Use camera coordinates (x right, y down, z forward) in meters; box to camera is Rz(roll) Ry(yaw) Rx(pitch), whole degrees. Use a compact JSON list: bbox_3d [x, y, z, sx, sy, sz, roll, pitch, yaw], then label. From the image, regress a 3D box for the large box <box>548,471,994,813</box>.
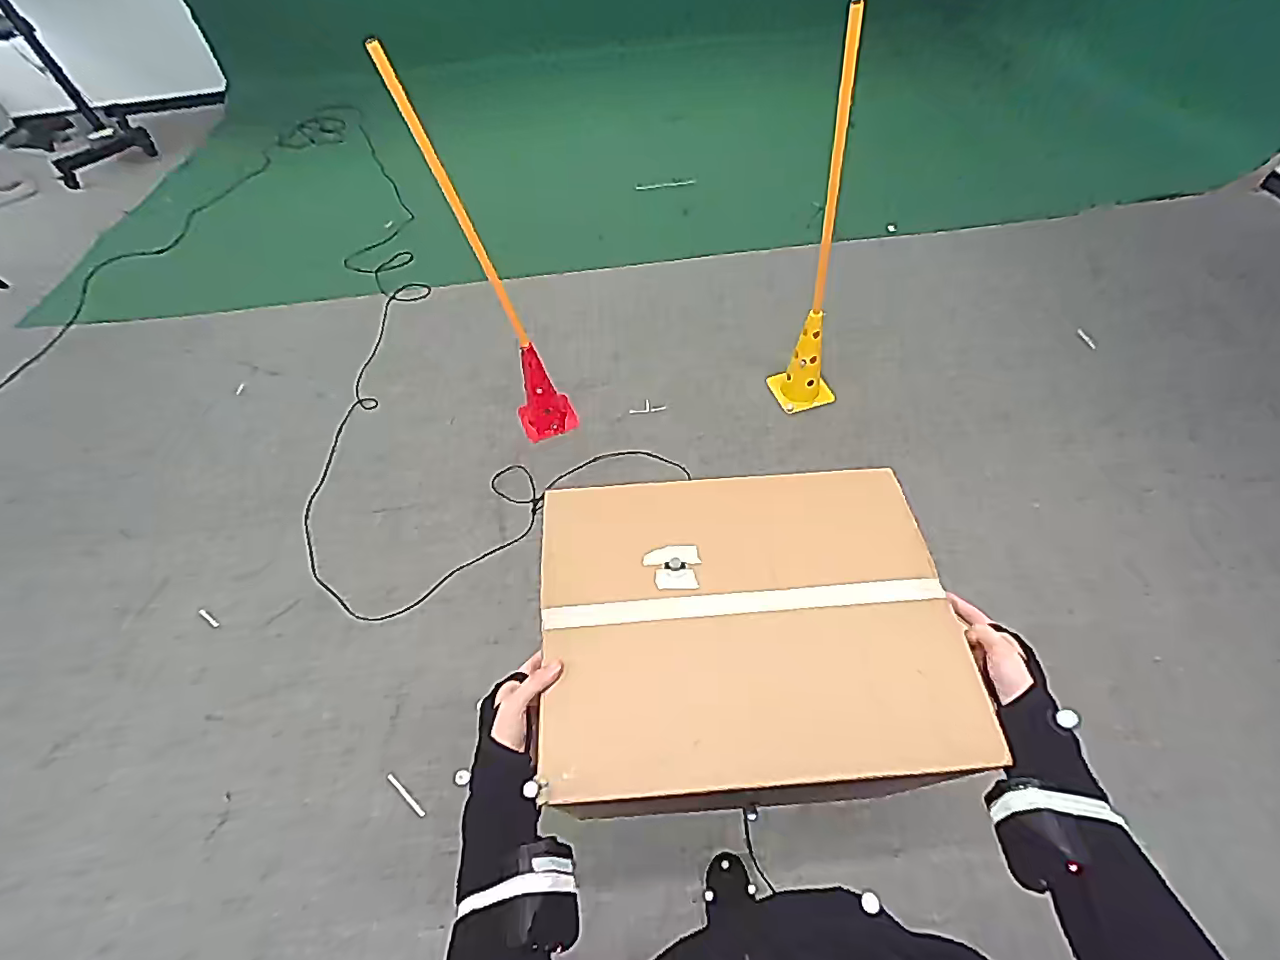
[{"bbox_3d":[0.113,0.216,0.677,0.408,0.320,0.320,-5,55,-1],"label":"large box"}]
